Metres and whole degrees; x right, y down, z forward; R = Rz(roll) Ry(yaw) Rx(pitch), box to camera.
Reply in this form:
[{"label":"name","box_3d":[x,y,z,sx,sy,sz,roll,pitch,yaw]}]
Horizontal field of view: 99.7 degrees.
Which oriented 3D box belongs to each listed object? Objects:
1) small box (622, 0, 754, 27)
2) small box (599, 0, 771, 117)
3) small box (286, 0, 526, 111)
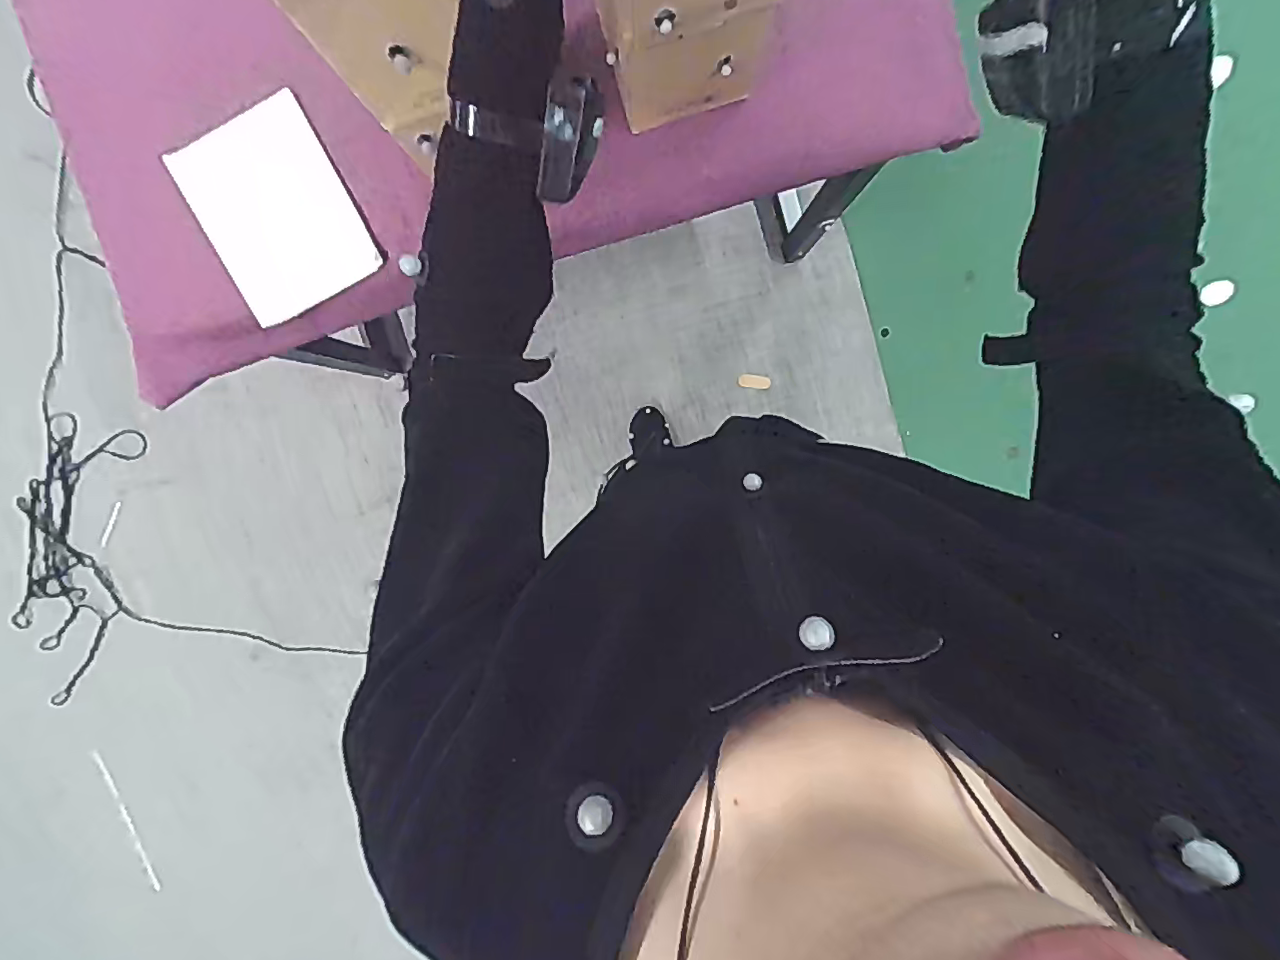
[{"label":"small box","box_3d":[0.046,-0.559,0.482,0.168,0.176,0.179,-17,93,2]},{"label":"small box","box_3d":[0.043,-0.574,0.645,0.168,0.176,0.179,-15,93,2]},{"label":"small box","box_3d":[-0.218,-0.479,0.493,0.168,0.176,0.179,-16,93,3]}]
